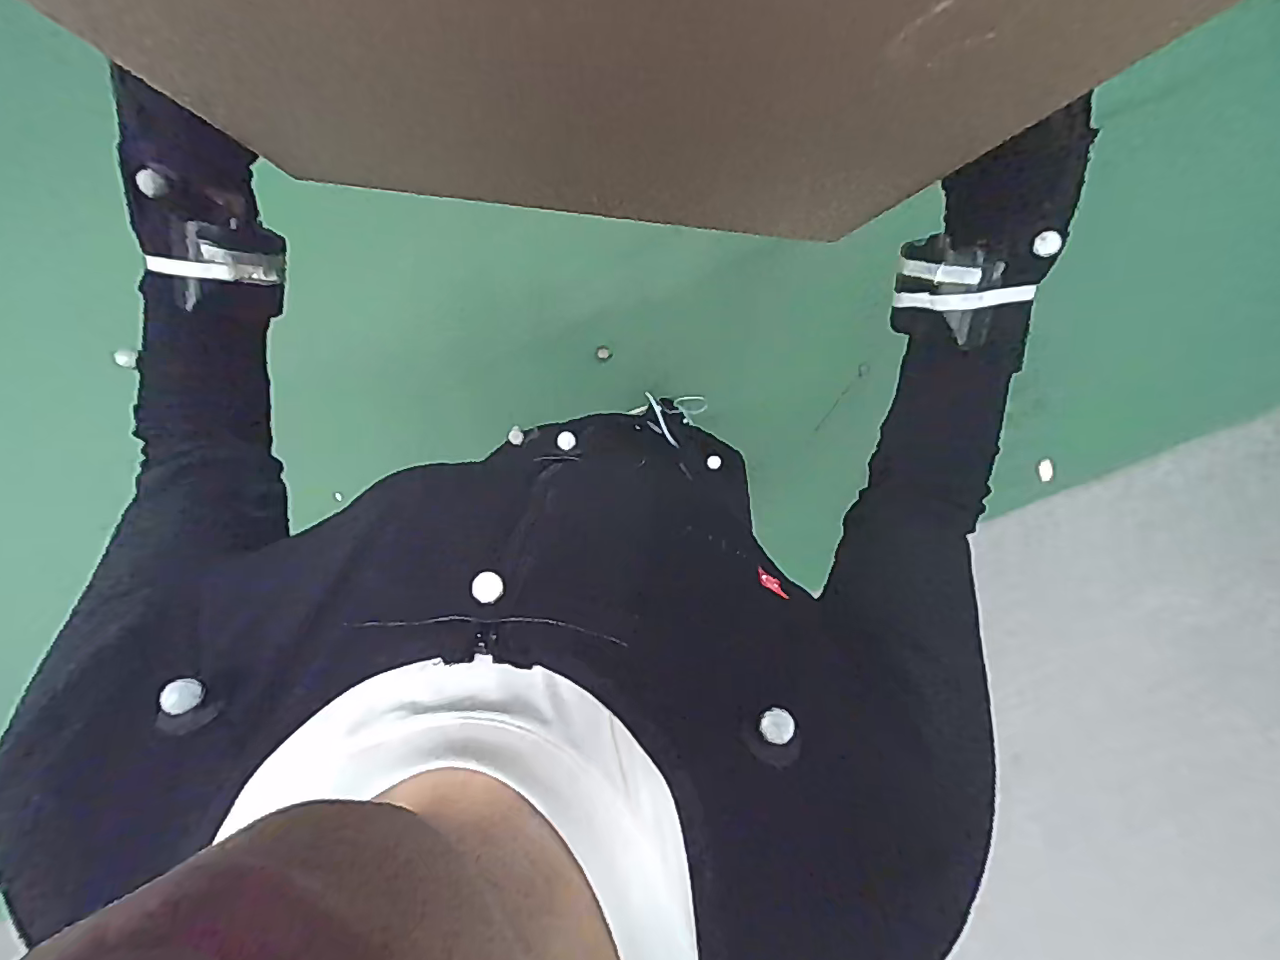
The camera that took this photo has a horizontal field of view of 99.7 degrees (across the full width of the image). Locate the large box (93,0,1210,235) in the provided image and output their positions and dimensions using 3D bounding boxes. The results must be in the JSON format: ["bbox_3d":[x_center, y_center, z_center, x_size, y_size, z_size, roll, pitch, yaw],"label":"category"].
[{"bbox_3d":[-0.014,-0.326,0.230,0.408,0.320,0.320,6,101,-6],"label":"large box"}]
